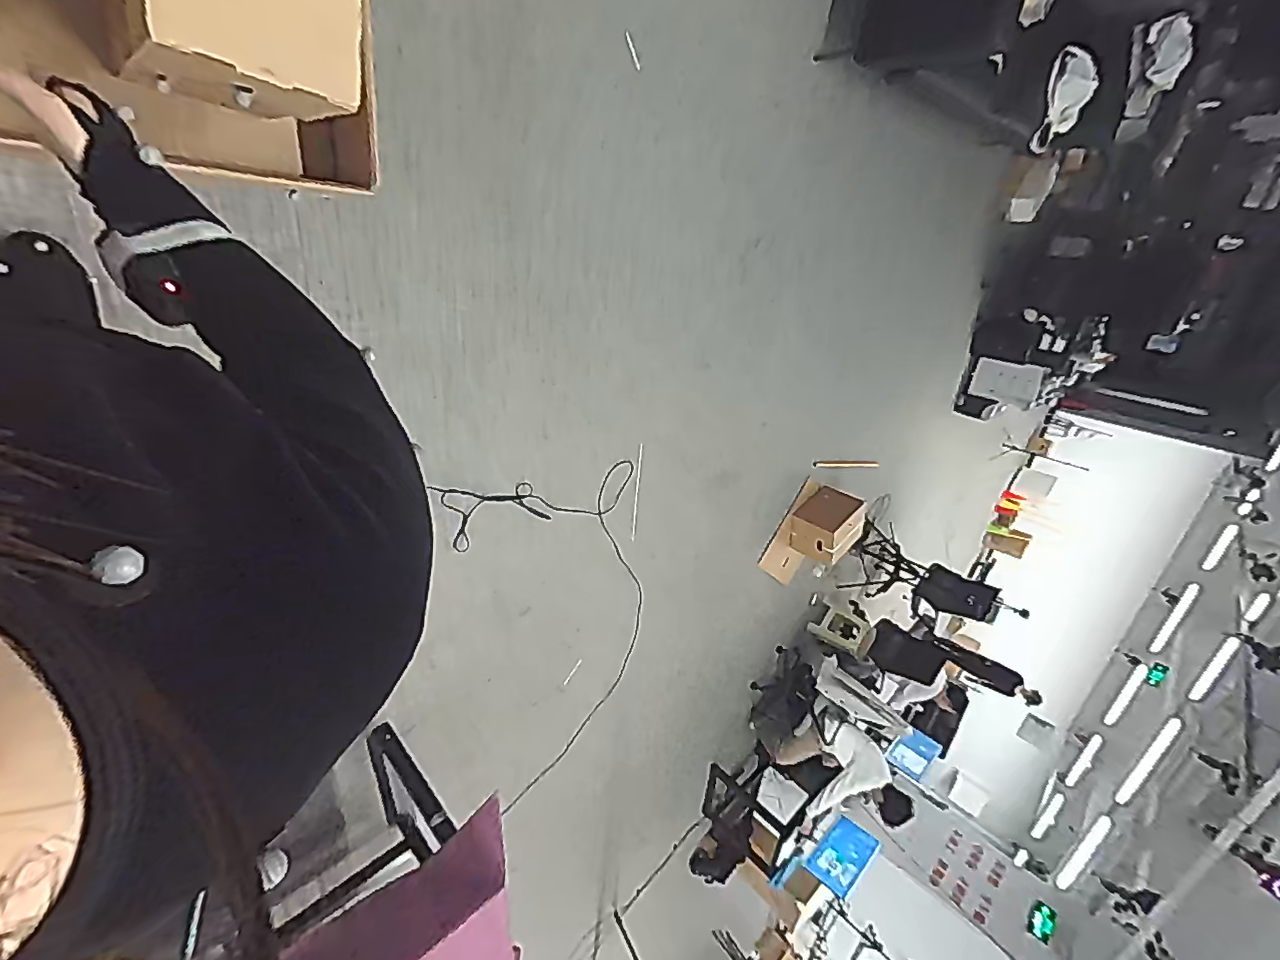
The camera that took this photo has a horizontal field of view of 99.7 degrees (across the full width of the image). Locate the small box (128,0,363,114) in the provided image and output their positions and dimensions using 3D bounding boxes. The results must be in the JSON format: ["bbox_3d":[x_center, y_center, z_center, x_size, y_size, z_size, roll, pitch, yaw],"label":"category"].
[{"bbox_3d":[-0.383,-0.482,0.525,0.168,0.176,0.179,-8,118,-44],"label":"small box"}]
